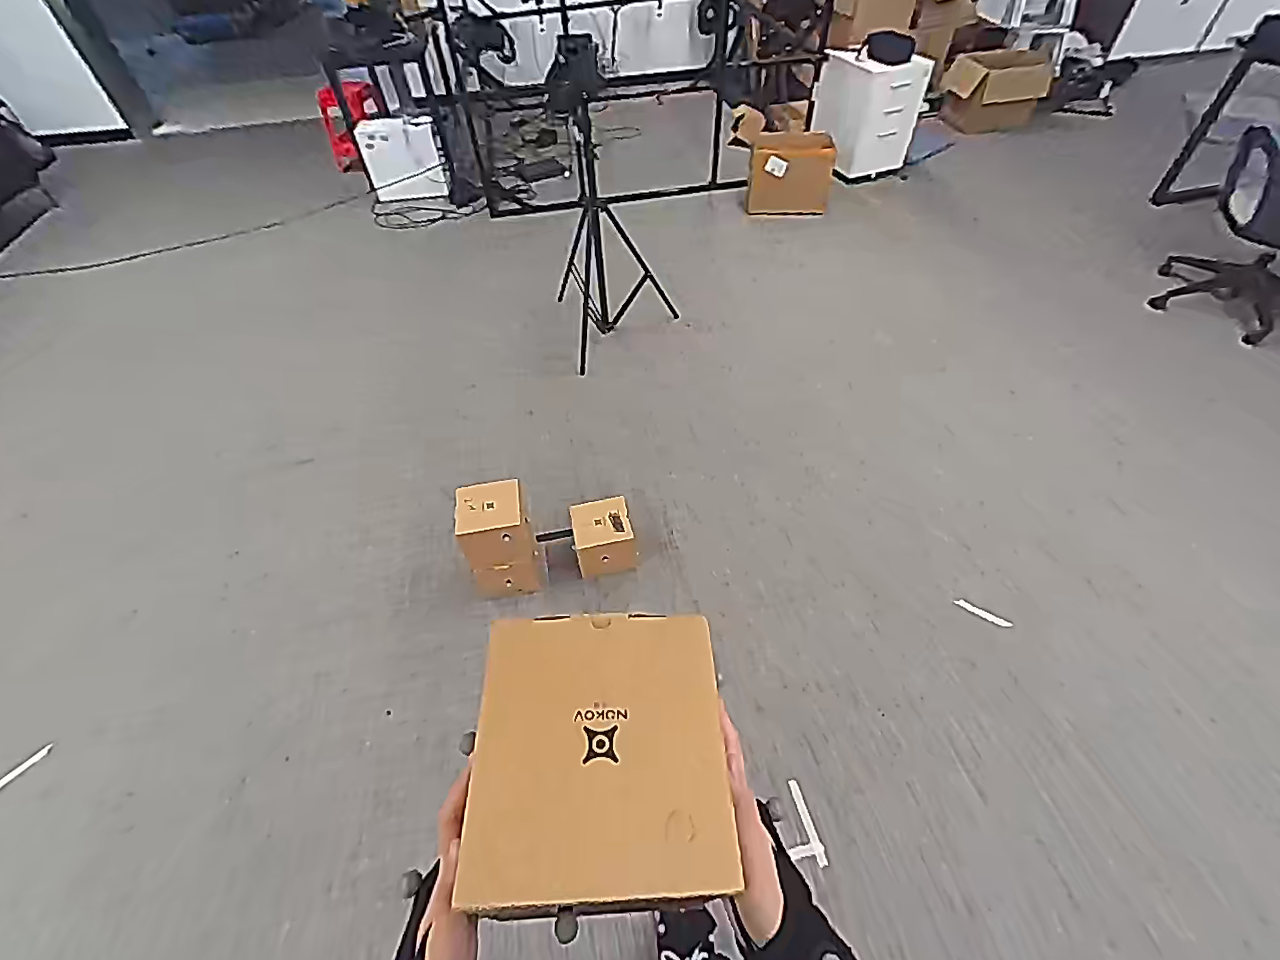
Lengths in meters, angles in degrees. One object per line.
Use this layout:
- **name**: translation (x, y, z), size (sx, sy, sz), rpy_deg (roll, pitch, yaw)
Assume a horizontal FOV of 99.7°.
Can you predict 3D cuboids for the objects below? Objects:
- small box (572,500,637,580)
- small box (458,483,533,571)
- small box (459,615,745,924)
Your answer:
- **small box**: translation (-0.107, 0.190, 1.682), size (0.179, 0.176, 0.168), rpy_deg (-11, 50, -5)
- **small box**: translation (-0.403, 0.135, 1.528), size (0.179, 0.176, 0.168), rpy_deg (-10, 49, -5)
- **small box**: translation (-0.027, 0.224, 0.416), size (0.168, 0.176, 0.179), rpy_deg (-1, 48, -5)
